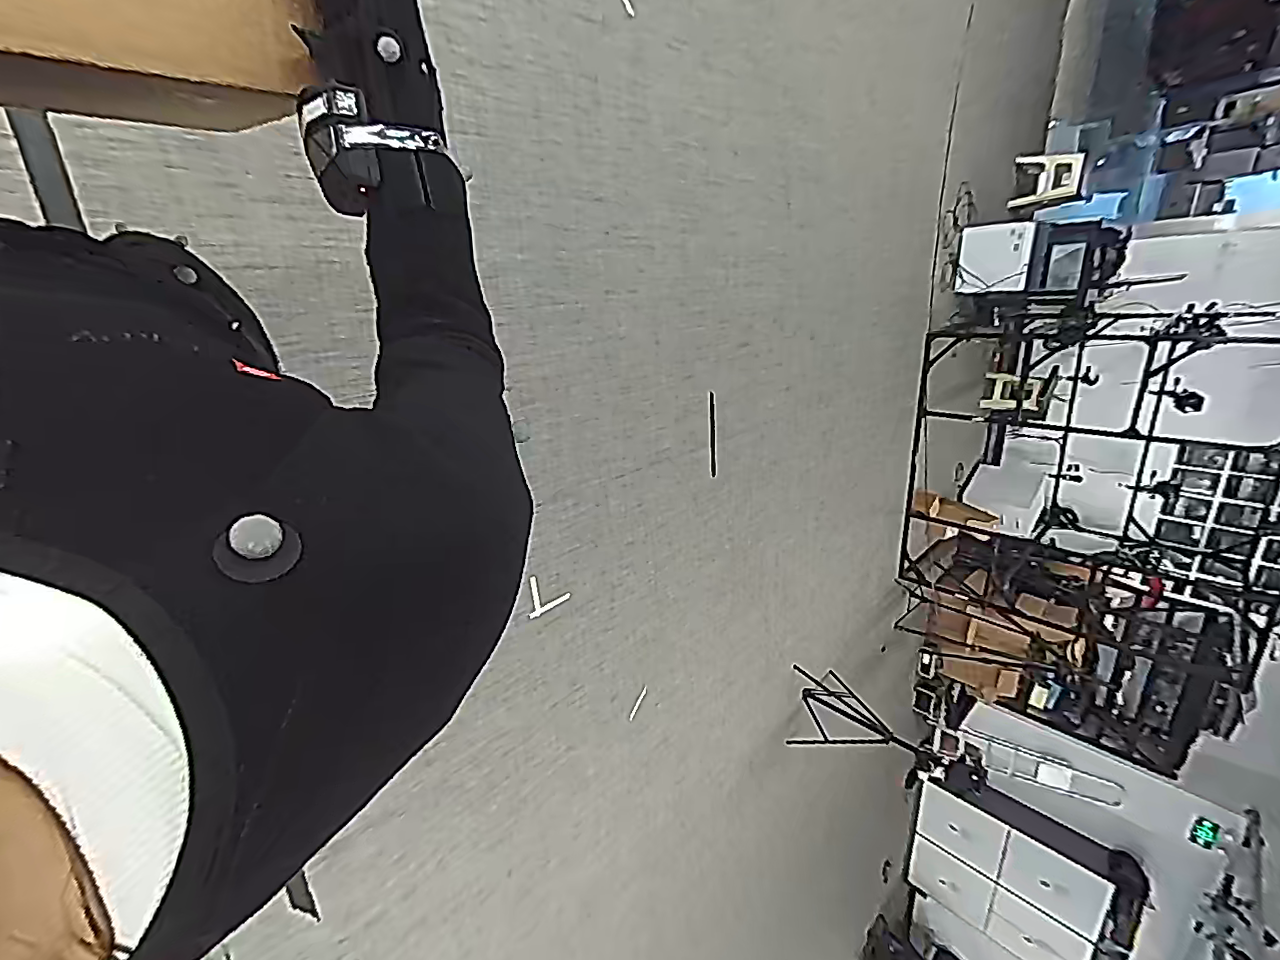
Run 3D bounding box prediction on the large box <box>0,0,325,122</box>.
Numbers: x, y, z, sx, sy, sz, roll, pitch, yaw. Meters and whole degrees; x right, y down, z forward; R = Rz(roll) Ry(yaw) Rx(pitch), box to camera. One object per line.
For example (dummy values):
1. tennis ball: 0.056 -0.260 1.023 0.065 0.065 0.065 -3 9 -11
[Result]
1. large box: -0.457 -0.397 0.274 0.408 0.320 0.320 -21 126 -40
